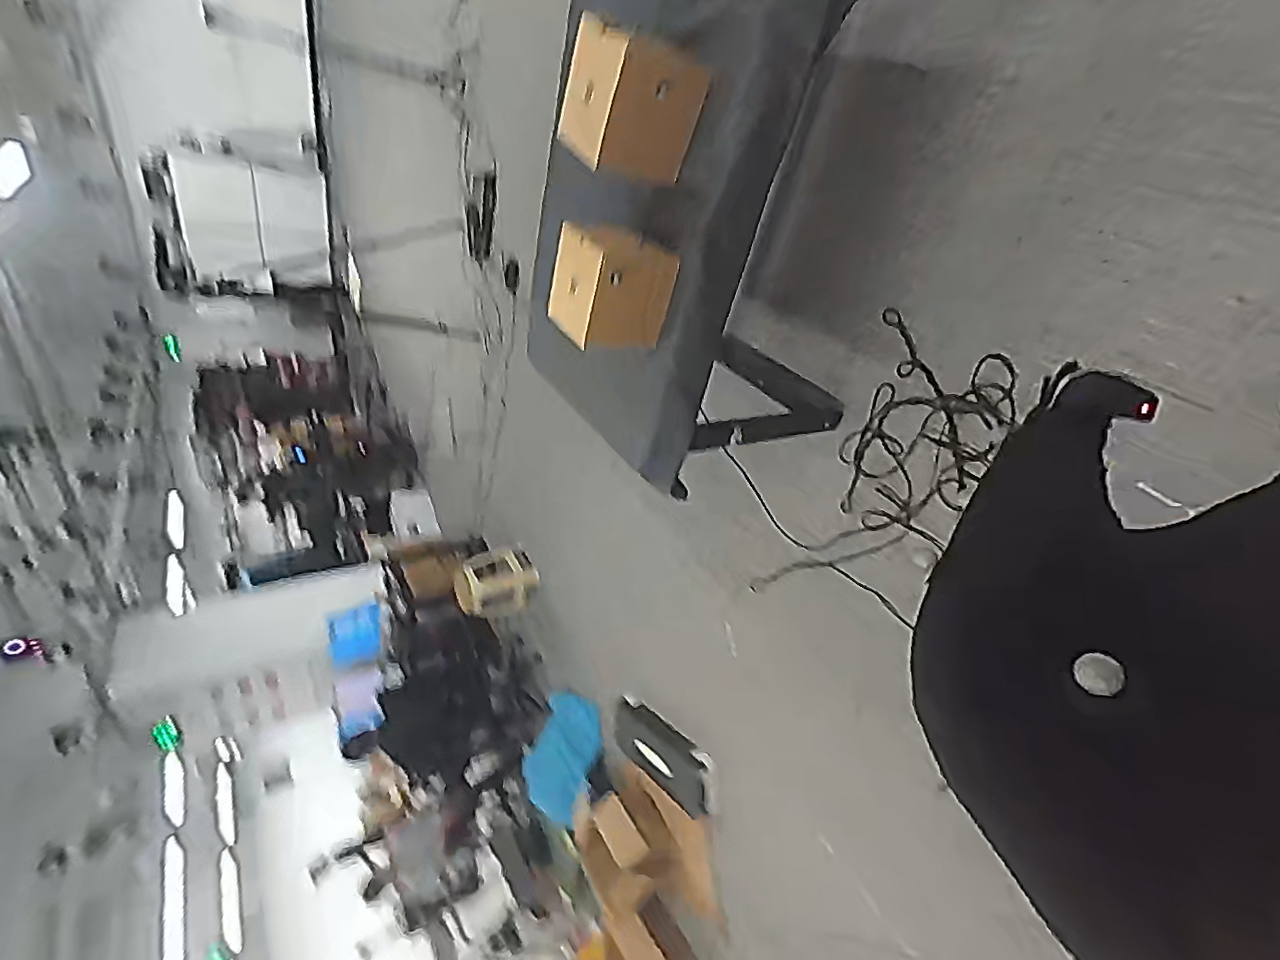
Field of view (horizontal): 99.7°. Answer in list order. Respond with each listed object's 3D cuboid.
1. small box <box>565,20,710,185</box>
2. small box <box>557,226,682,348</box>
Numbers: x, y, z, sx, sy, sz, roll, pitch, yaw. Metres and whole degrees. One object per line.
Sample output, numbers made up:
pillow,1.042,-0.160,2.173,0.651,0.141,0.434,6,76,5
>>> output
small box,-0.004,-0.636,0.924,0.168,0.176,0.179,57,141,33
small box,-0.041,-0.367,1.045,0.168,0.176,0.179,50,135,40
